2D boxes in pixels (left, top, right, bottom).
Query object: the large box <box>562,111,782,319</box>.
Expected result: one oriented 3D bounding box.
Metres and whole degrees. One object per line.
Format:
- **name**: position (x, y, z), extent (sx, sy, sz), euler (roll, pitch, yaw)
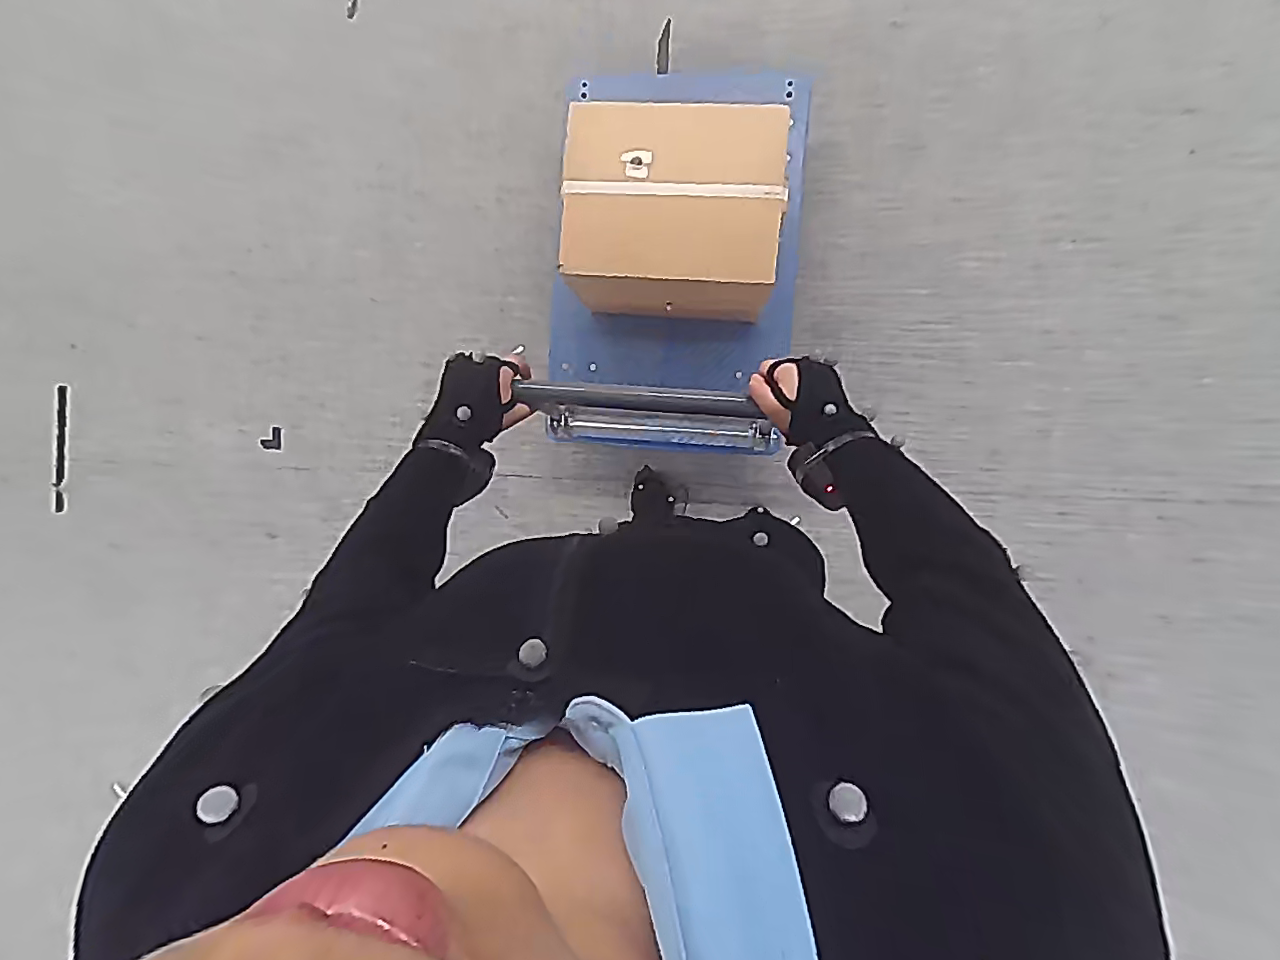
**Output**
- **large box**: position (0.074, -0.536, 1.157), extent (0.408, 0.320, 0.320), euler (5, 93, 7)
